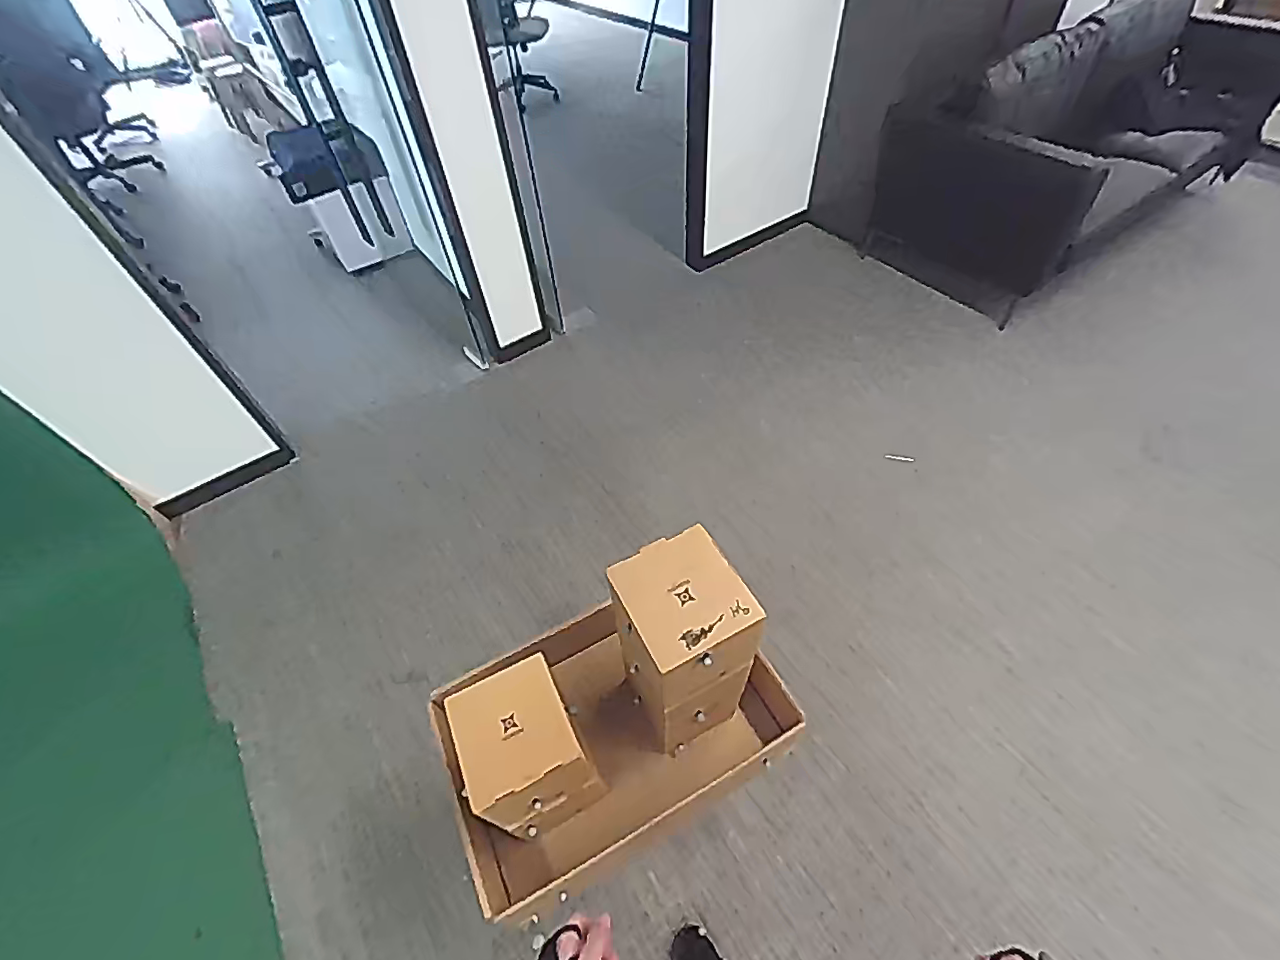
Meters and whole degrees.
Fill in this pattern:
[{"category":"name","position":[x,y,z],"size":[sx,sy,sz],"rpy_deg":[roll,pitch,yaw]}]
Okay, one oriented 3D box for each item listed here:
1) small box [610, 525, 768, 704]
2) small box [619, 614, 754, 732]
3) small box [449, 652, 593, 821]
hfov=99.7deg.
[{"category":"small box","position":[0.068,0.205,0.819],"size":[0.168,0.176,0.179],"rpy_deg":[-24,54,-13]},{"category":"small box","position":[0.075,0.308,0.947],"size":[0.168,0.176,0.179],"rpy_deg":[-23,55,-14]},{"category":"small box","position":[-0.188,0.418,0.878],"size":[0.168,0.176,0.179],"rpy_deg":[-23,54,-14]}]
